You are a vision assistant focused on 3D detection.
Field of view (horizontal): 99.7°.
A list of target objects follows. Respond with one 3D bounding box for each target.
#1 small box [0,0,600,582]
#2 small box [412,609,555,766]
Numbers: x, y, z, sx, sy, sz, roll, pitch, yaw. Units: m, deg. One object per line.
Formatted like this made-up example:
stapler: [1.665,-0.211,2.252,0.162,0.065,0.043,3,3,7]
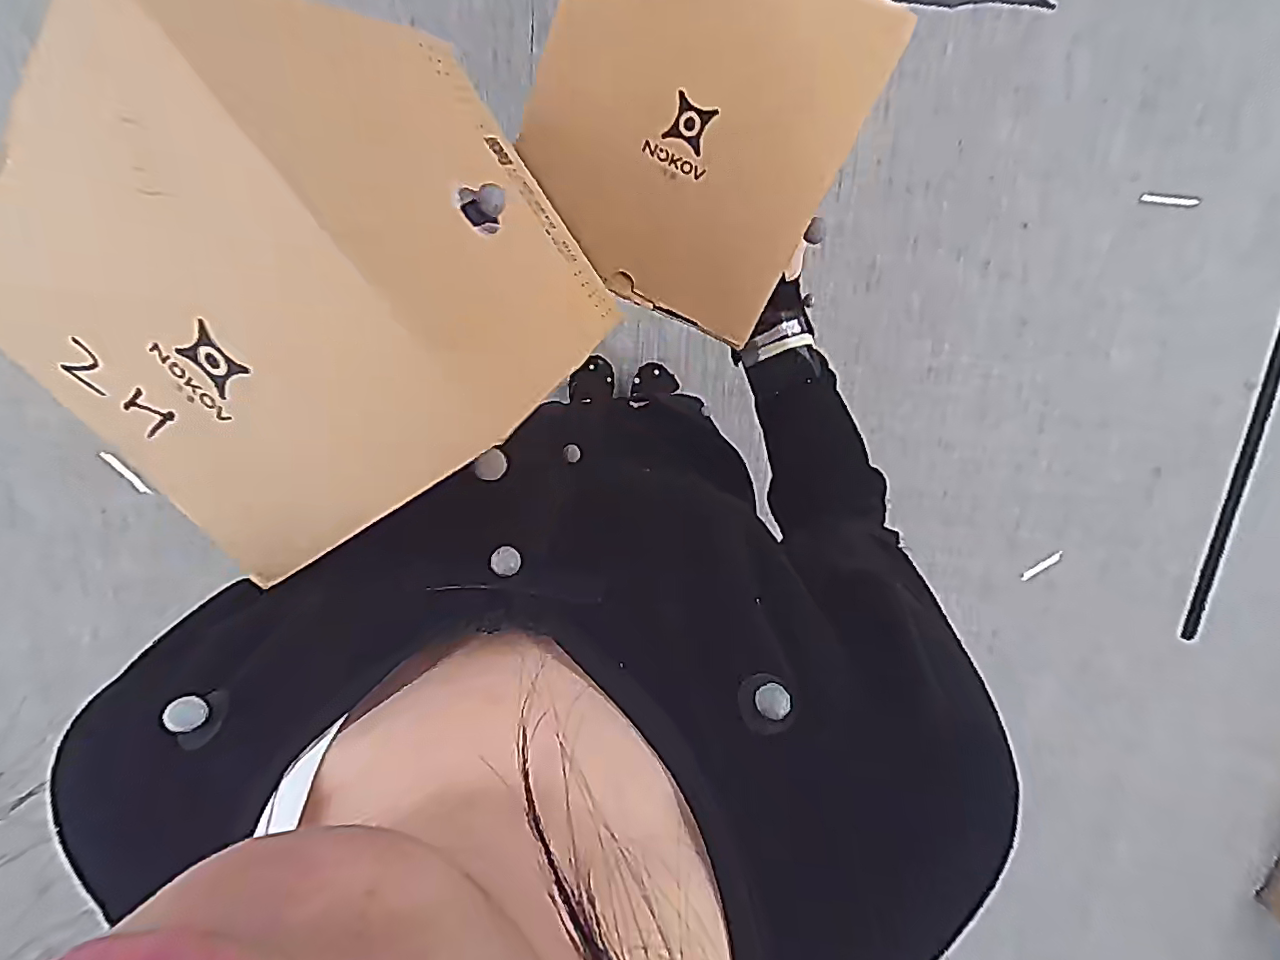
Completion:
small box: [-0.139,-0.084,0.272,0.179,0.176,0.168,-26,110,28]
small box: [-0.235,0.314,0.847,0.179,0.176,0.168,2,103,-1]
